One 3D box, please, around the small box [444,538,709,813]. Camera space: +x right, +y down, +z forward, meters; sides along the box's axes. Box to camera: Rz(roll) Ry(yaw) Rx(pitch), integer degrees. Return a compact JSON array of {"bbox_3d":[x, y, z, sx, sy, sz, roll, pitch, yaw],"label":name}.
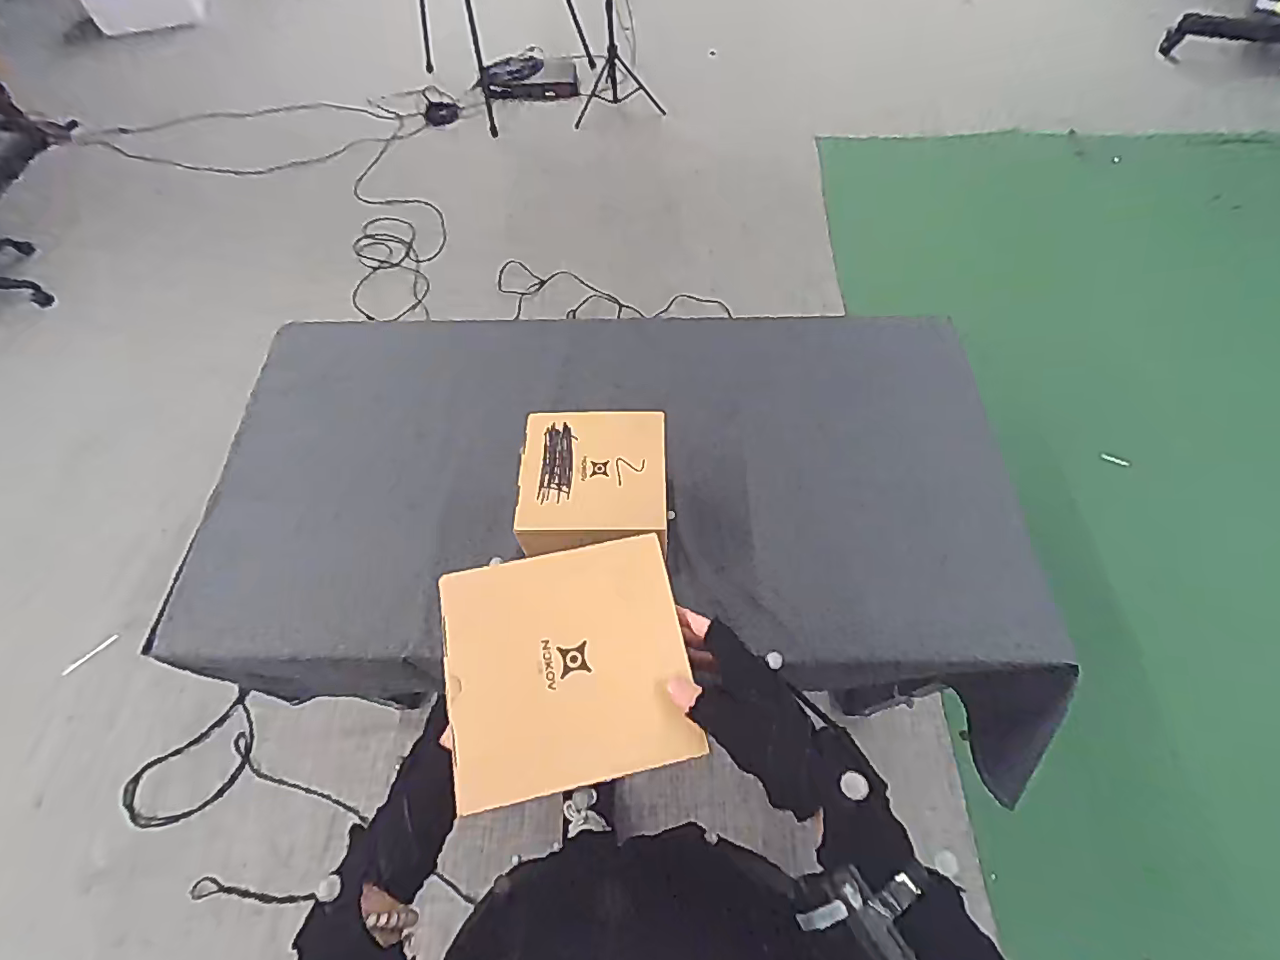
[{"bbox_3d":[-0.055,0.166,0.472,0.179,0.176,0.168,-11,66,-6],"label":"small box"}]
